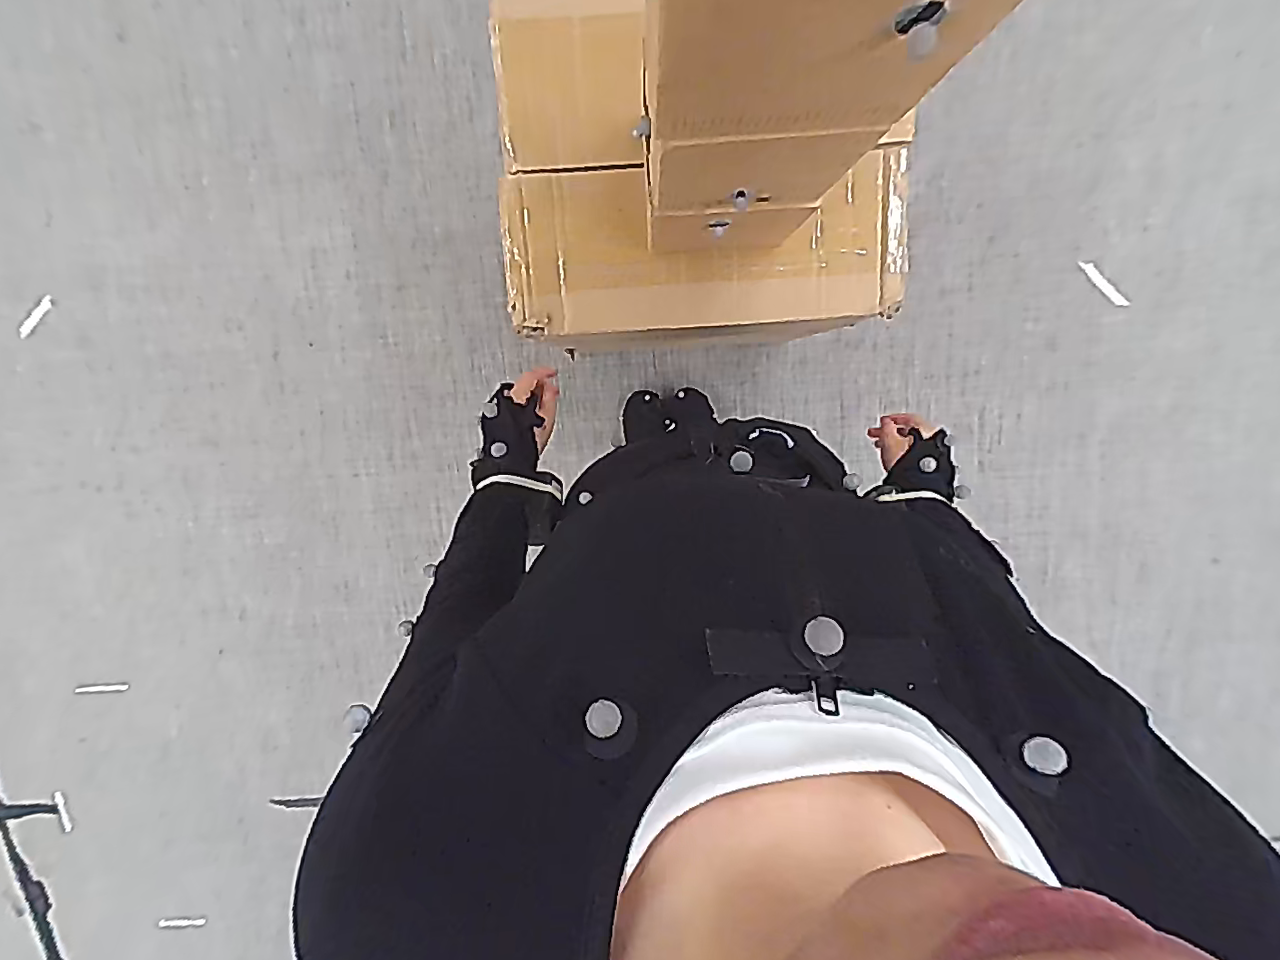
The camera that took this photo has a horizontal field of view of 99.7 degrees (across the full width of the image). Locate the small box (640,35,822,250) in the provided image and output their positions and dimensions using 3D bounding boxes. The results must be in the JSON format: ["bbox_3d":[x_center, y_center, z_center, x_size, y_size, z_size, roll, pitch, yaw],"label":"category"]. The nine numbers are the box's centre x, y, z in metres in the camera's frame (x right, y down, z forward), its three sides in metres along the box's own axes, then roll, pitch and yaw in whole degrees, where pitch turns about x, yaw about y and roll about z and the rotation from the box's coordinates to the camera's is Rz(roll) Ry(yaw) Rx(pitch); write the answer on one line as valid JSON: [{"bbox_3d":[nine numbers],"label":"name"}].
[{"bbox_3d":[0.092,-0.367,0.609,0.179,0.176,0.168,-3,101,1],"label":"small box"}]

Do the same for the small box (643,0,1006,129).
[{"bbox_3d":[0.089,-0.312,0.284,0.179,0.176,0.168,-3,101,1],"label":"small box"}]
